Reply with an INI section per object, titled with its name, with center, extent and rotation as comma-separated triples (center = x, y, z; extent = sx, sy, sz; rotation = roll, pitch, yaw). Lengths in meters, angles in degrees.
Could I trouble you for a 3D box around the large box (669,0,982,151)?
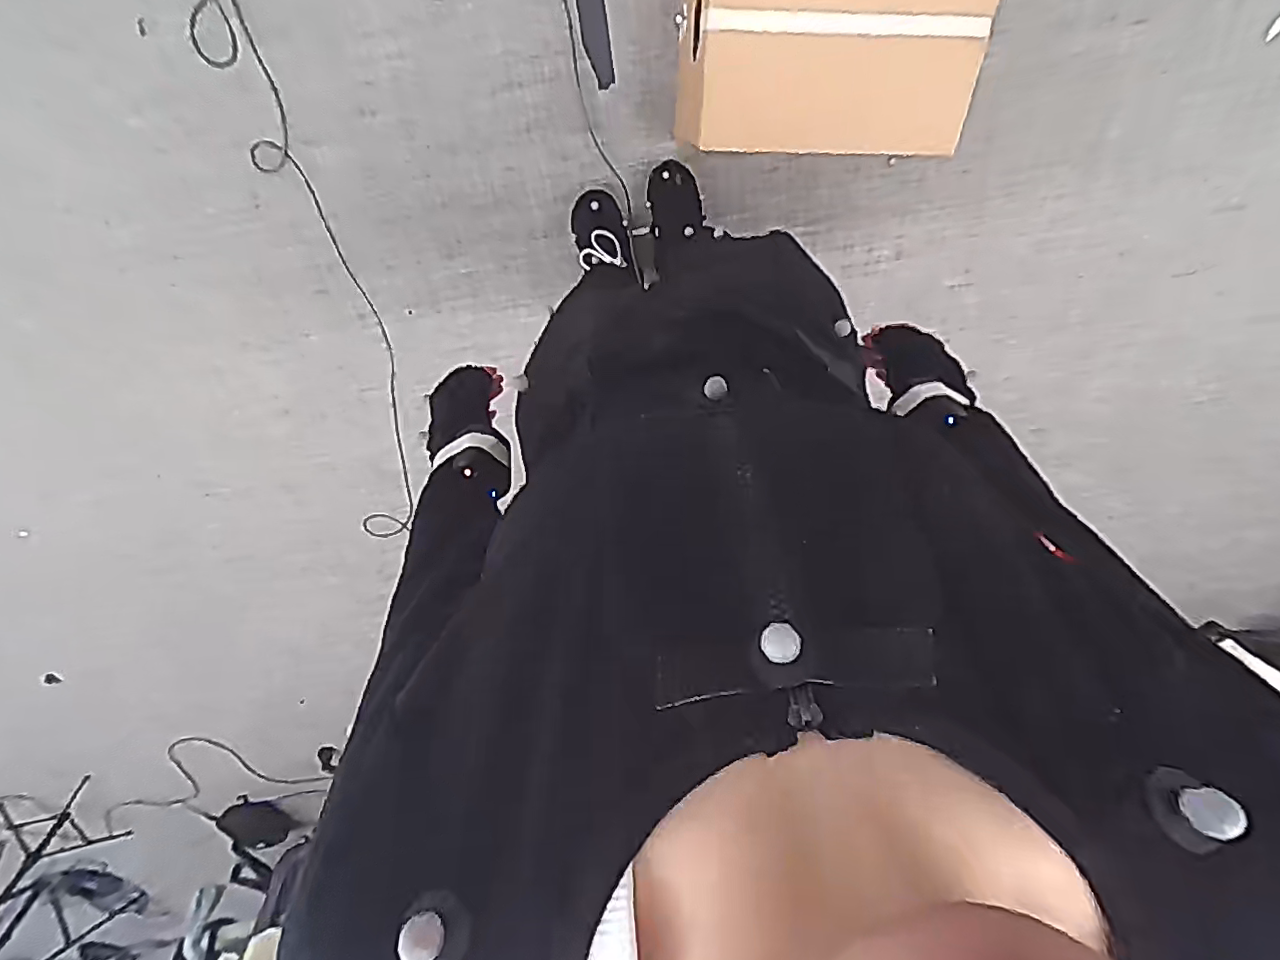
[large box]
center = 0.268, -0.728, 0.873
extent = 0.408, 0.320, 0.320
rotation = -1, 124, -4
